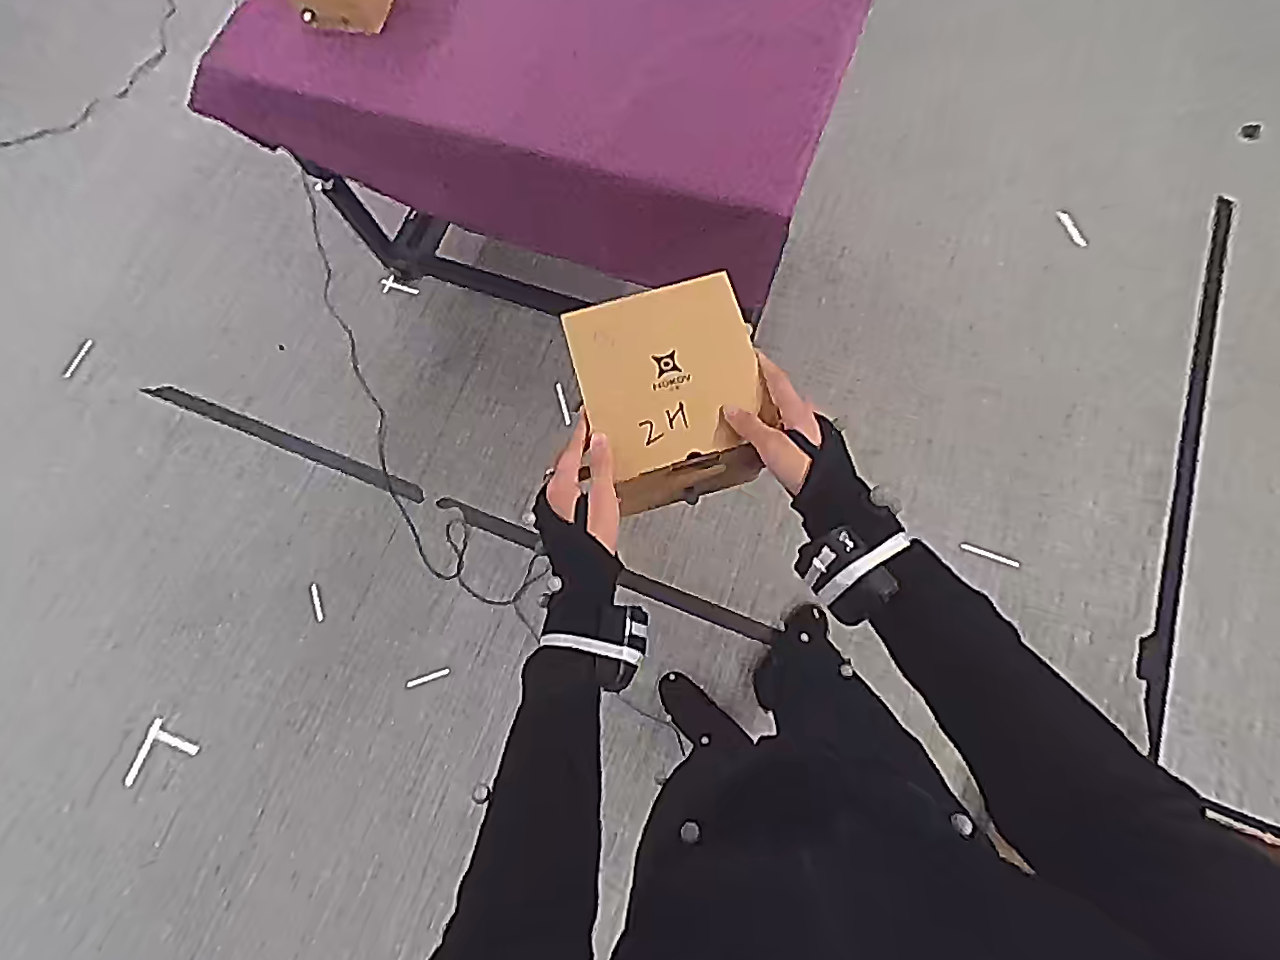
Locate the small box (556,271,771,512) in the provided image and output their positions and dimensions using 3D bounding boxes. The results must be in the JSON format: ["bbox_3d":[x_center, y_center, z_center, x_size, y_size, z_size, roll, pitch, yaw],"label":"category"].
[{"bbox_3d":[0.020,-0.081,0.573,0.168,0.176,0.179,-16,75,-1],"label":"small box"}]

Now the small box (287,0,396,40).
[{"bbox_3d":[-0.584,-0.984,1.024,0.168,0.176,0.179,11,76,6],"label":"small box"}]
